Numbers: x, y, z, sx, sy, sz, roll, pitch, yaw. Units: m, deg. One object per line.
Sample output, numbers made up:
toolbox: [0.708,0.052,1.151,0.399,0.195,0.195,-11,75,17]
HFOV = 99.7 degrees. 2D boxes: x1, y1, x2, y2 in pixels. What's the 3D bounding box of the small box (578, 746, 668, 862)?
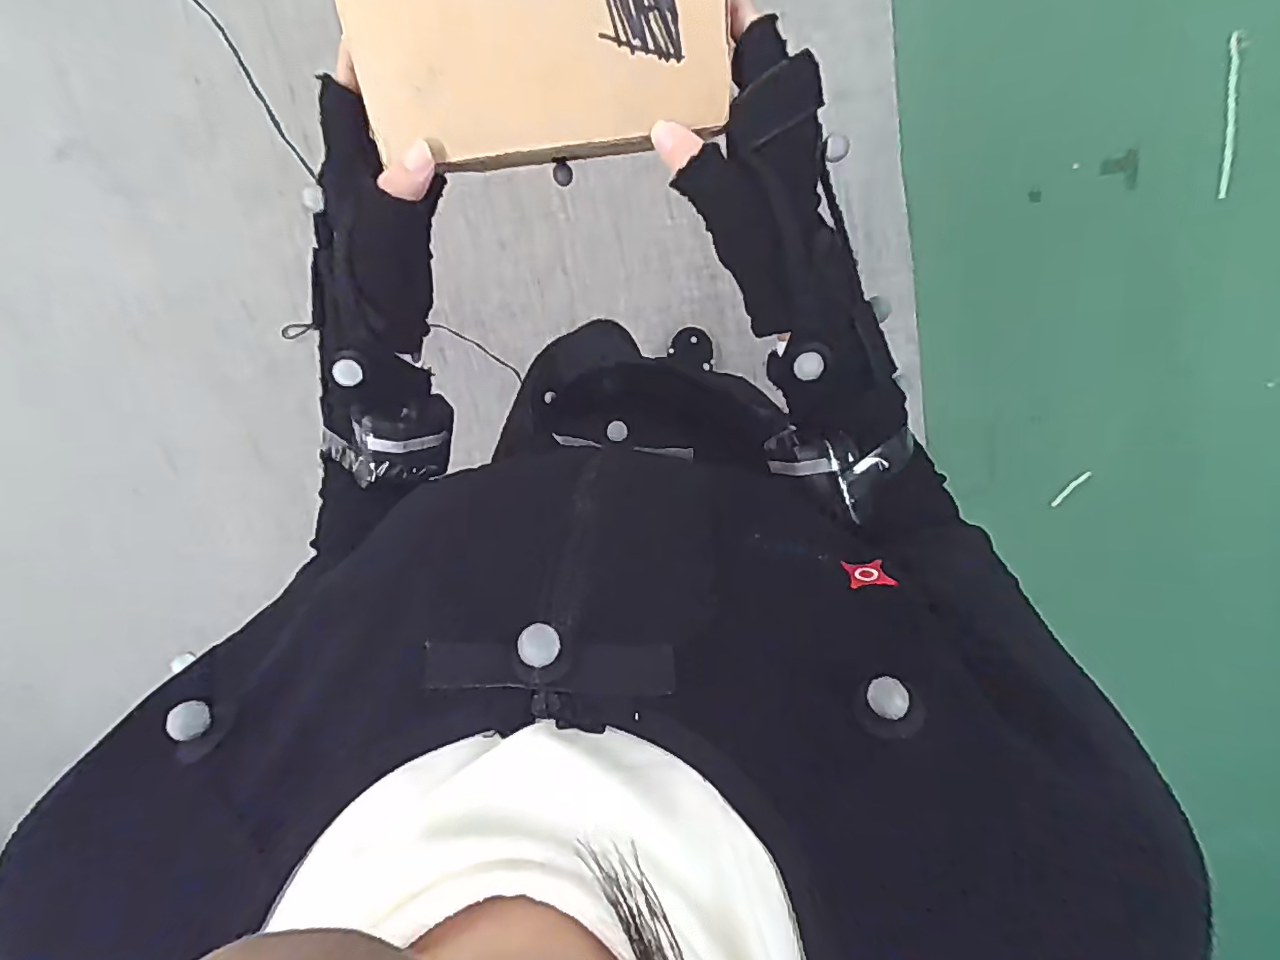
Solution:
small box: [-0.030,0.752,1.267,0.179,0.176,0.168,-9,103,9]
